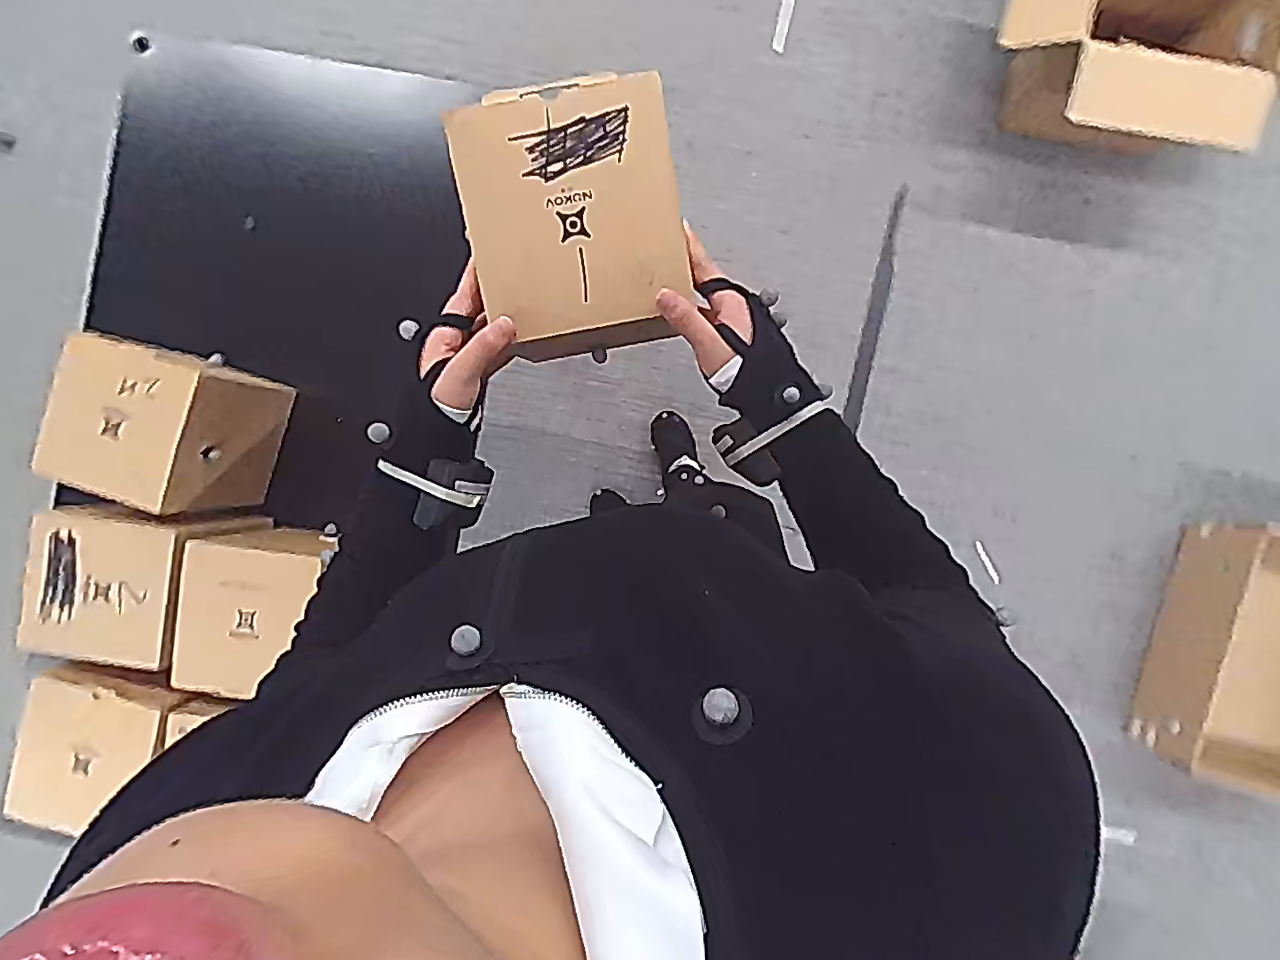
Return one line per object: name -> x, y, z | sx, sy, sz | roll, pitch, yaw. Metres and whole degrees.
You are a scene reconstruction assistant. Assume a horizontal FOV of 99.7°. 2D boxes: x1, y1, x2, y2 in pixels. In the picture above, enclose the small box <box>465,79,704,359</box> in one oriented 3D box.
small box -> -0.042, -0.217, 0.498 | 0.168, 0.176, 0.179 | -9, 98, 2
